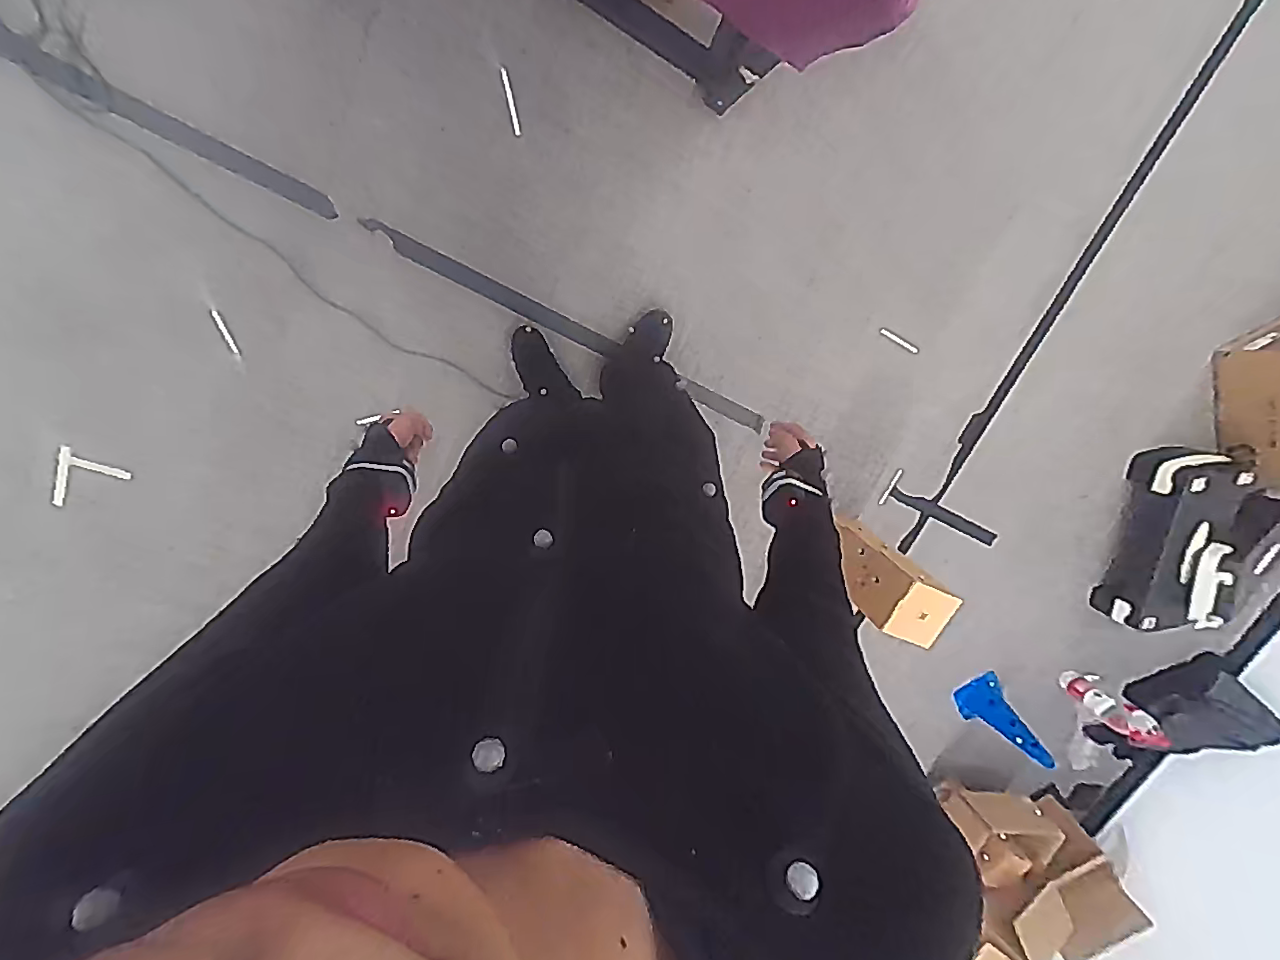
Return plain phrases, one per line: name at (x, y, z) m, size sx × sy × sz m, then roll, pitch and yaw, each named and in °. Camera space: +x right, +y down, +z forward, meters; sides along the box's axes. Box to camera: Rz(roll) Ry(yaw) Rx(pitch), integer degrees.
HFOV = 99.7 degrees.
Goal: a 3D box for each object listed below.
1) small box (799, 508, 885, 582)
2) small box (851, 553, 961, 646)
small box at (0.667, 0.213, 1.802) m, size 0.179 × 0.176 × 0.168 m, roll 19°, pitch 106°, yaw -16°
small box at (0.730, 0.326, 1.501) m, size 0.179 × 0.176 × 0.168 m, roll 22°, pitch 106°, yaw -17°
